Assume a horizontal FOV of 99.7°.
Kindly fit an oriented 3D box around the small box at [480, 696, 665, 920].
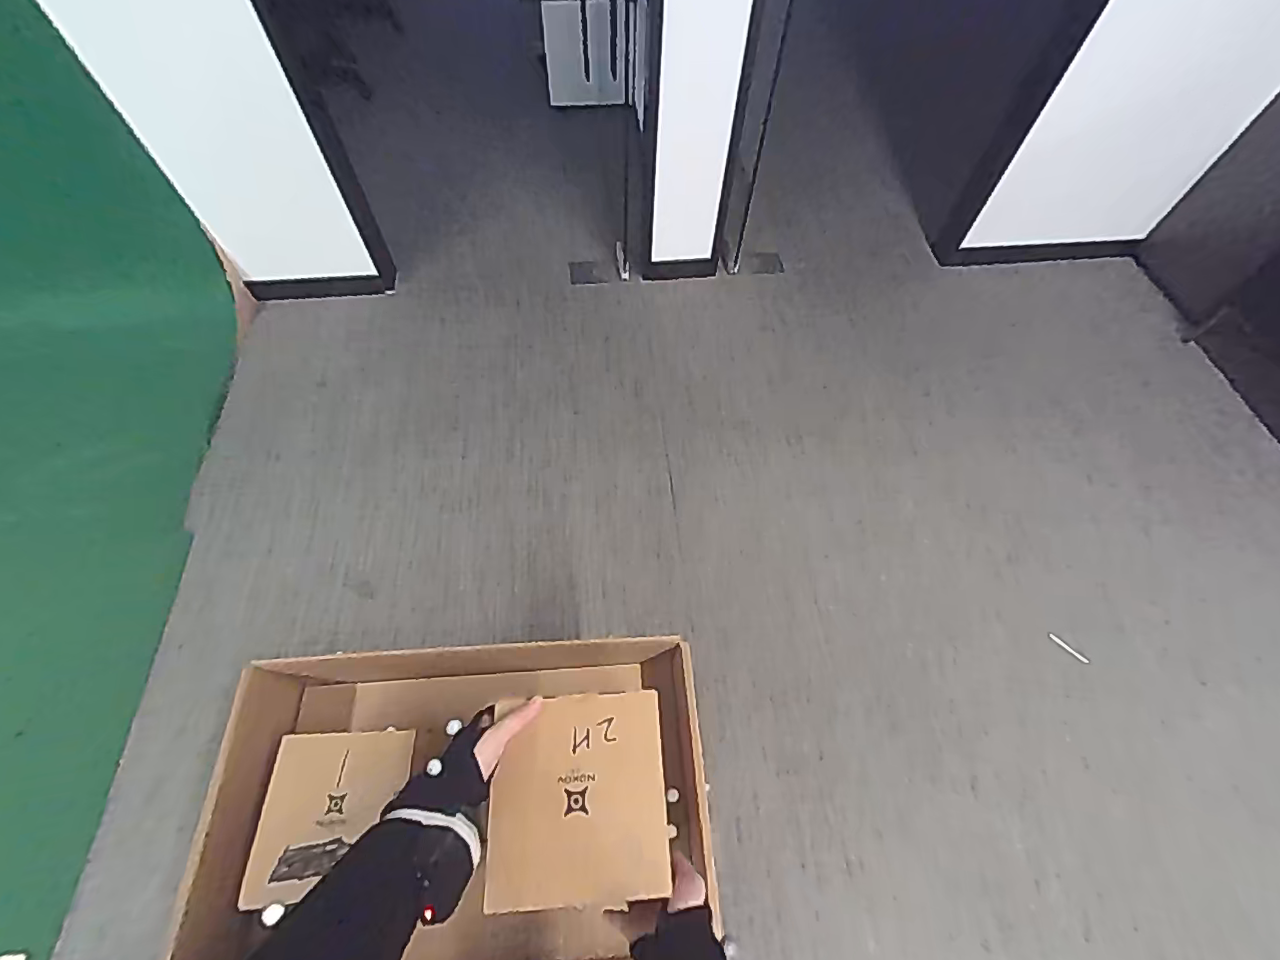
[{"bbox_3d":[-0.062,0.338,0.577,0.168,0.176,0.179,-2,59,-3],"label":"small box"}]
